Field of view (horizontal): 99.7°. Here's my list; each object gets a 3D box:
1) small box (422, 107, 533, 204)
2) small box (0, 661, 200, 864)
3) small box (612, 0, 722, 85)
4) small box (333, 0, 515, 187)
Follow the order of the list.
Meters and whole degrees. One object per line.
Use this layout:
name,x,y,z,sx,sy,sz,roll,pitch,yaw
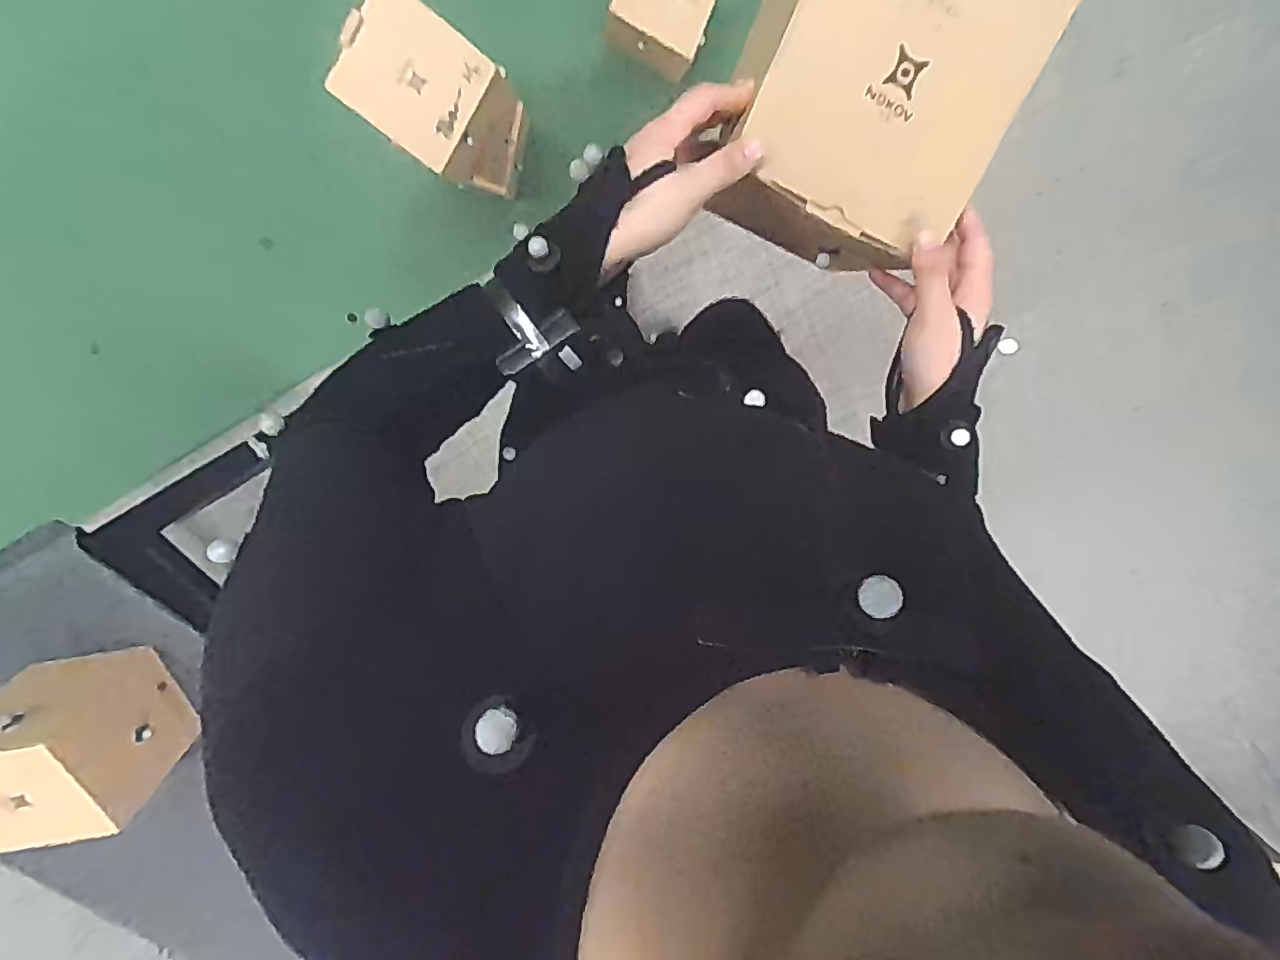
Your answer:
small box,-0.326,-0.687,1.119,0.179,0.176,0.168,15,110,-11
small box,-0.745,0.366,0.724,0.179,0.176,0.168,-9,114,1
small box,0.053,-0.917,1.059,0.179,0.176,0.168,20,110,-15
small box,-0.310,-0.570,0.813,0.179,0.176,0.168,33,107,-18
